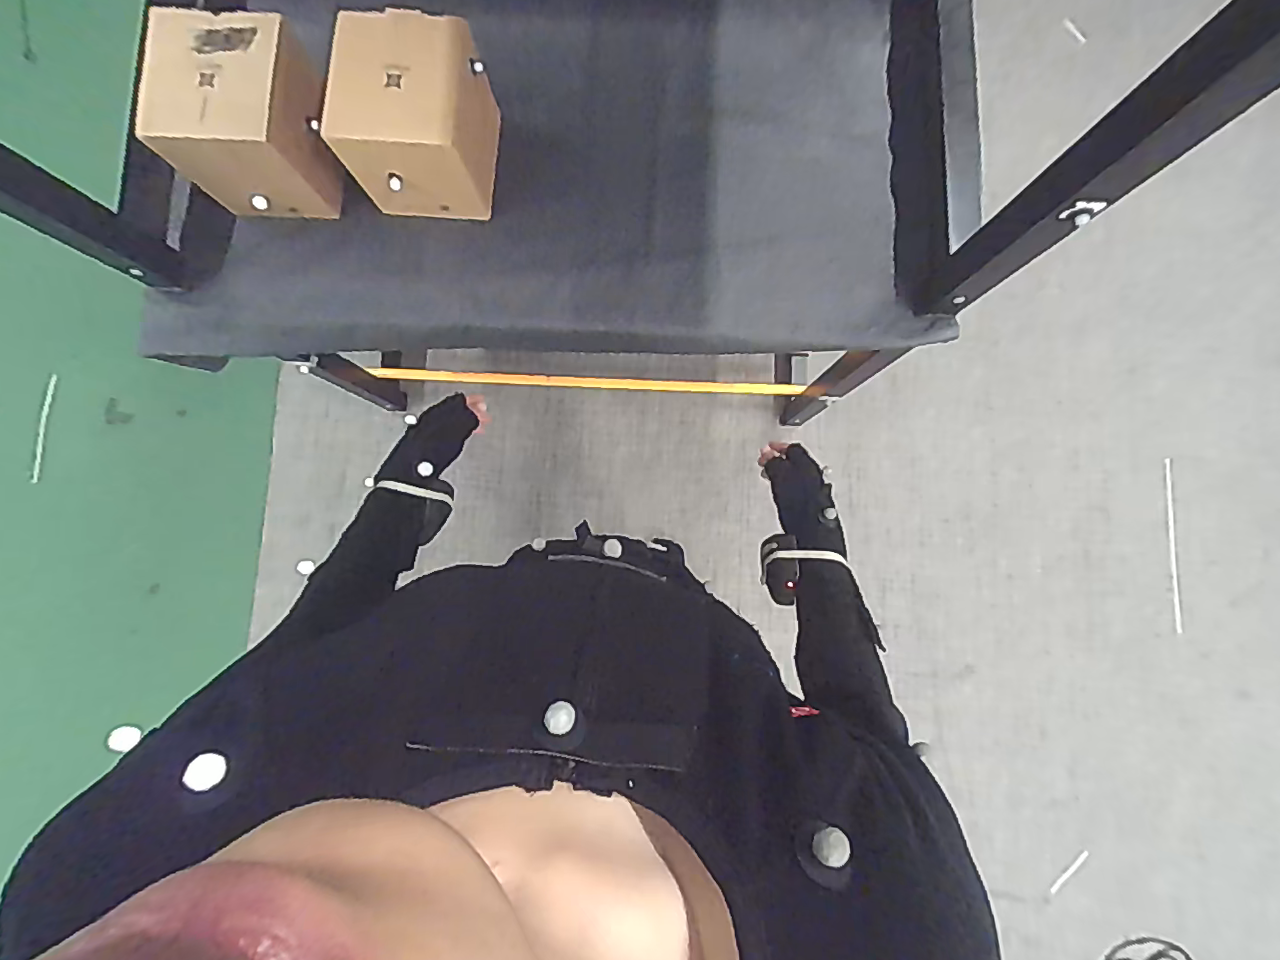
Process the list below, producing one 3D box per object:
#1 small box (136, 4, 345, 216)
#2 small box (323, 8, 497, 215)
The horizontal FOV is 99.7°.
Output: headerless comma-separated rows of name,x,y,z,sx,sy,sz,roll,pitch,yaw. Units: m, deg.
small box,-0.533,-0.500,0.751,0.168,0.176,0.179,2,85,0
small box,-0.306,-0.499,0.755,0.168,0.176,0.179,4,84,0
